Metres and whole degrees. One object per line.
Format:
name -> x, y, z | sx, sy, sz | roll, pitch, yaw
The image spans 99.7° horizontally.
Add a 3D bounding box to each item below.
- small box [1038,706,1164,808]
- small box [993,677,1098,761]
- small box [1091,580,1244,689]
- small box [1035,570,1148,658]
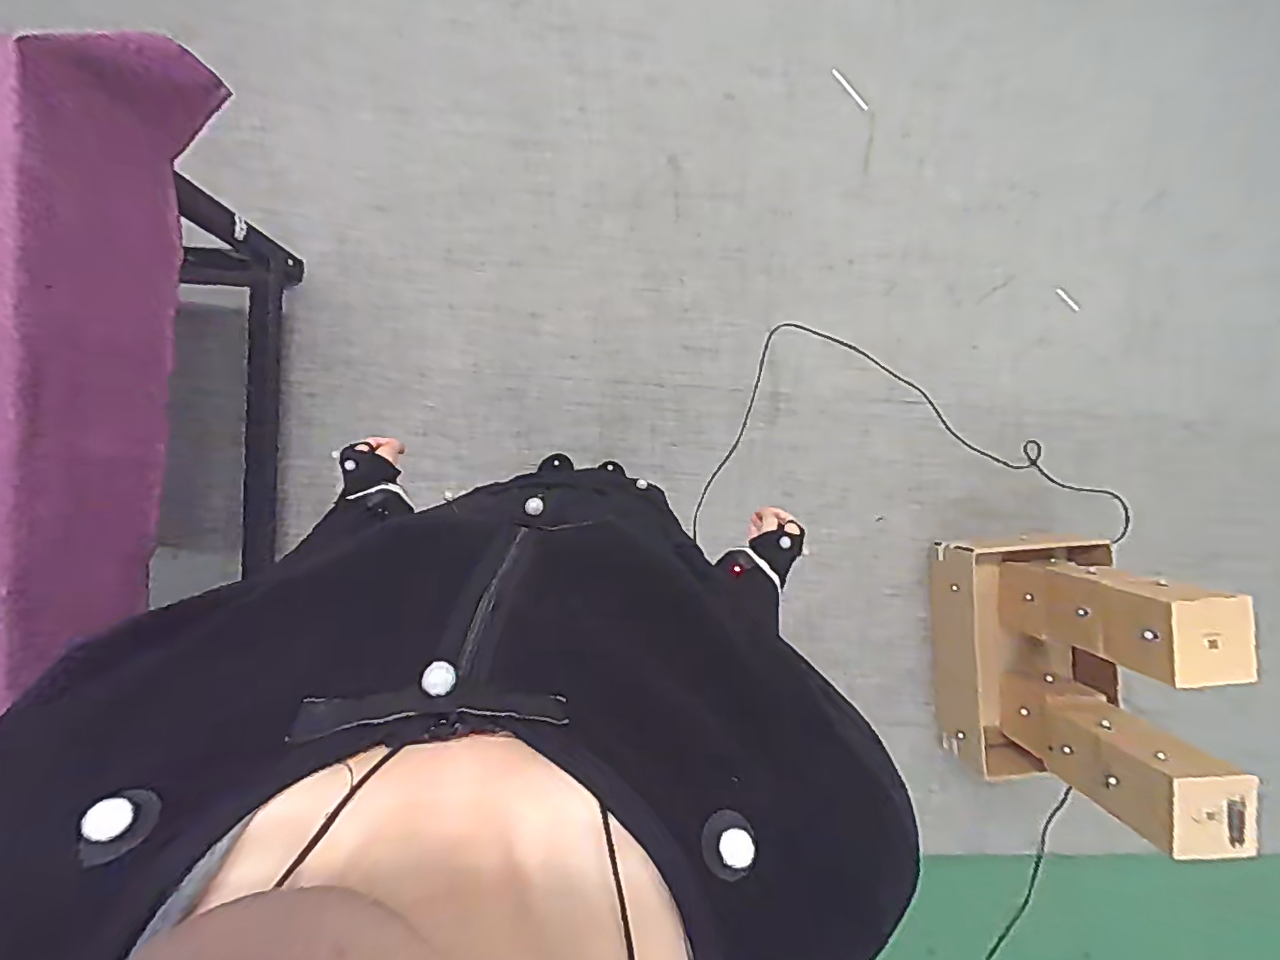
small box -> 1.111, 0.666, 1.315 | 0.179, 0.176, 0.168 | 0, 92, -4
small box -> 1.102, 0.649, 1.479 | 0.168, 0.176, 0.179 | 0, 90, -3
small box -> 1.108, 0.321, 1.148 | 0.168, 0.176, 0.179 | -5, 91, -2
small box -> 1.100, 0.318, 1.310 | 0.168, 0.176, 0.179 | 0, 92, -2
